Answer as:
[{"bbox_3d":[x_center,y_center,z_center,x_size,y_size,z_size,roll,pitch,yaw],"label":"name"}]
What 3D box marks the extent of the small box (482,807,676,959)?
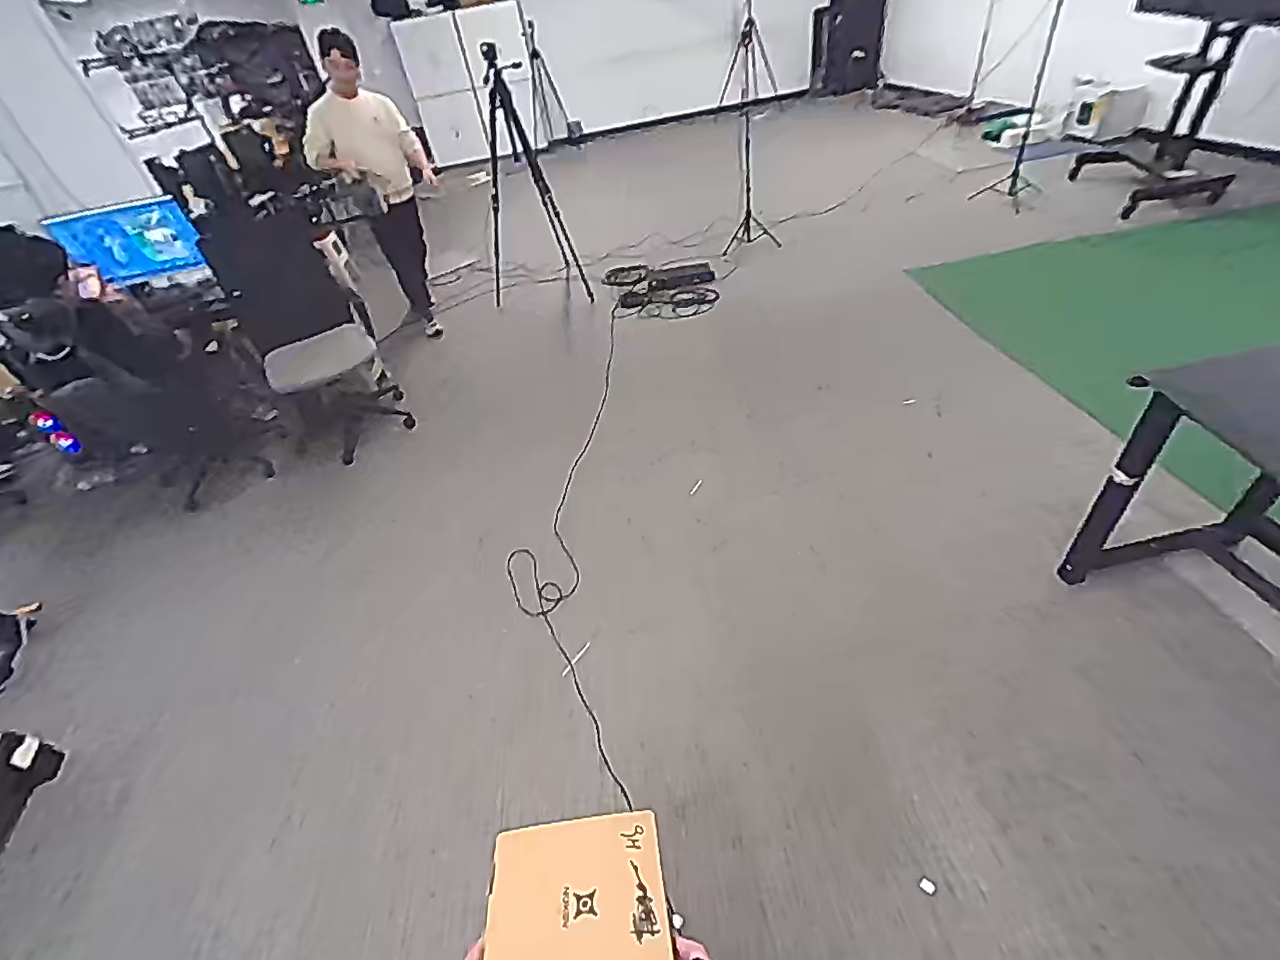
[{"bbox_3d":[-0.054,0.482,0.561,0.179,0.176,0.168,-7,26,-3],"label":"small box"}]
